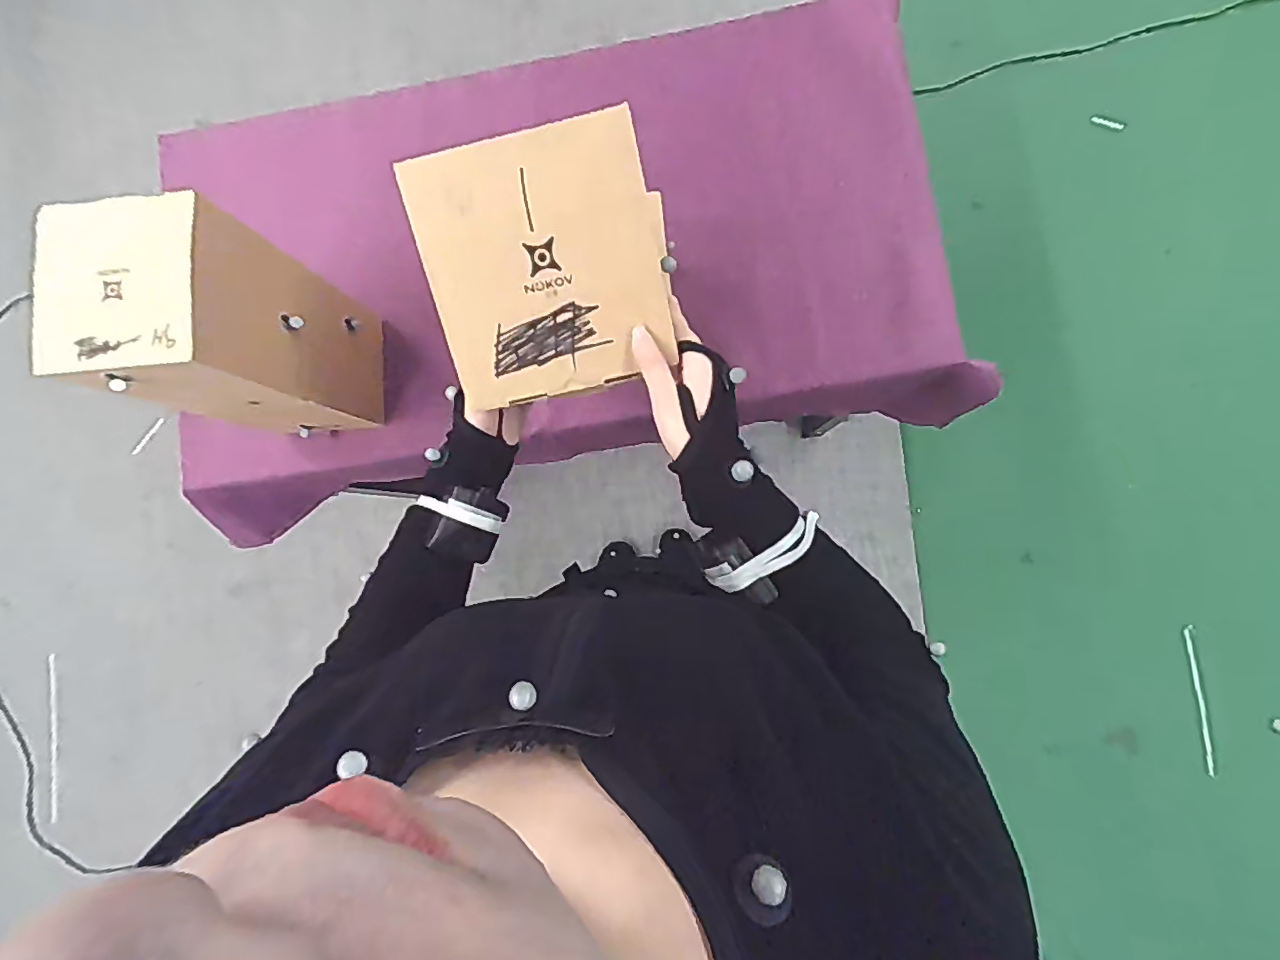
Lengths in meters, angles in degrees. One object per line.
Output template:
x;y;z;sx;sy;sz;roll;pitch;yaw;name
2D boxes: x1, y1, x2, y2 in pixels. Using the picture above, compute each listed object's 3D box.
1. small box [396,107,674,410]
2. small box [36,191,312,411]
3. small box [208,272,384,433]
-0.068;-0.173;0.461;0.168;0.176;0.179;-12;106;4;small box
-0.500;-0.186;0.607;0.168;0.176;0.179;-4;84;5;small box
-0.488;-0.172;0.772;0.168;0.176;0.179;-4;85;4;small box
